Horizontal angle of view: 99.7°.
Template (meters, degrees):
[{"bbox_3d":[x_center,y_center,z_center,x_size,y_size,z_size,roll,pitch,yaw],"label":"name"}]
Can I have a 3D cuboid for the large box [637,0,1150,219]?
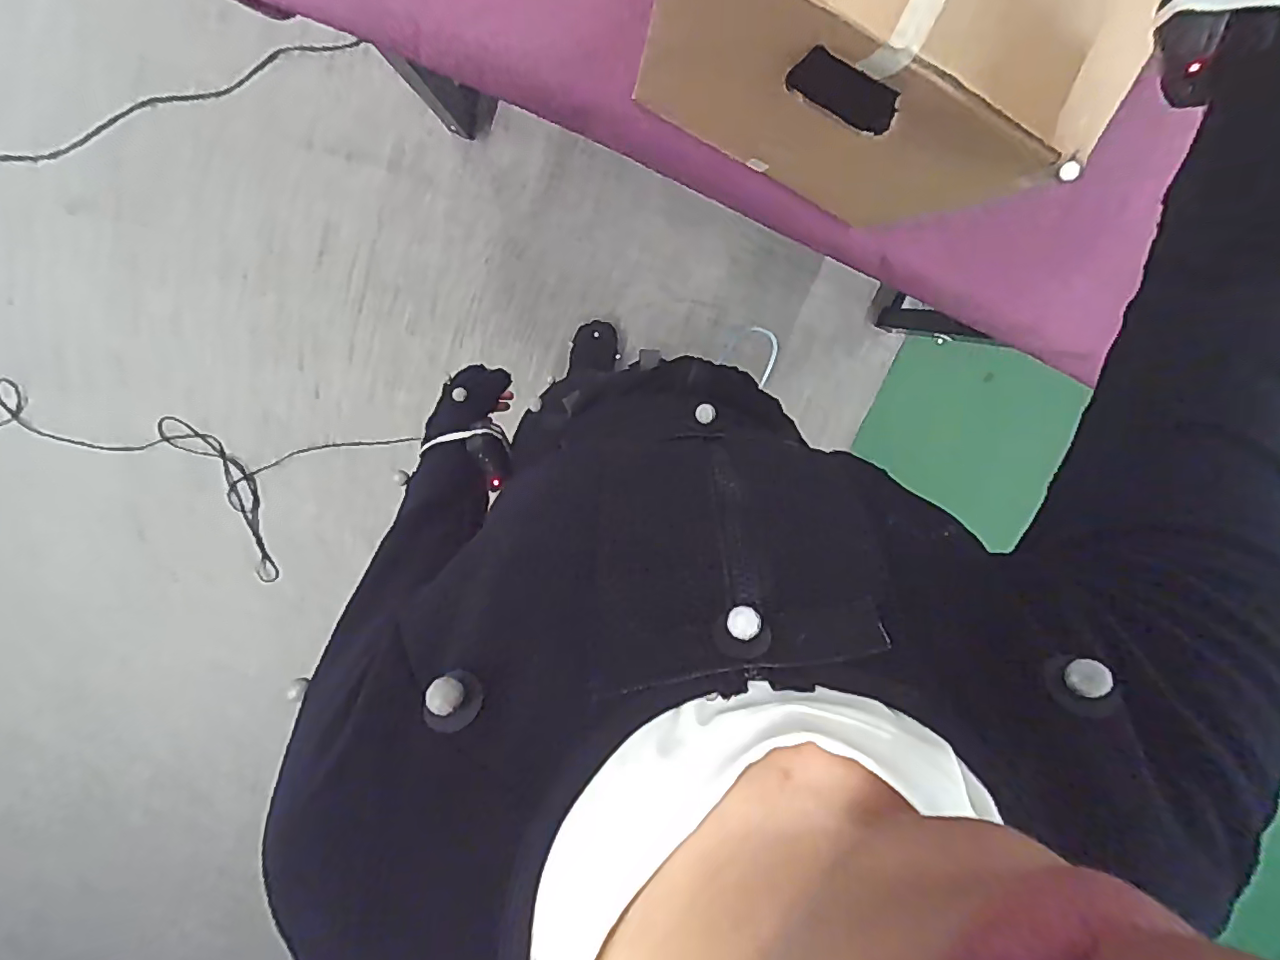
[{"bbox_3d":[0.224,-0.499,0.450,0.320,0.320,0.408,22,106,-12],"label":"large box"}]
